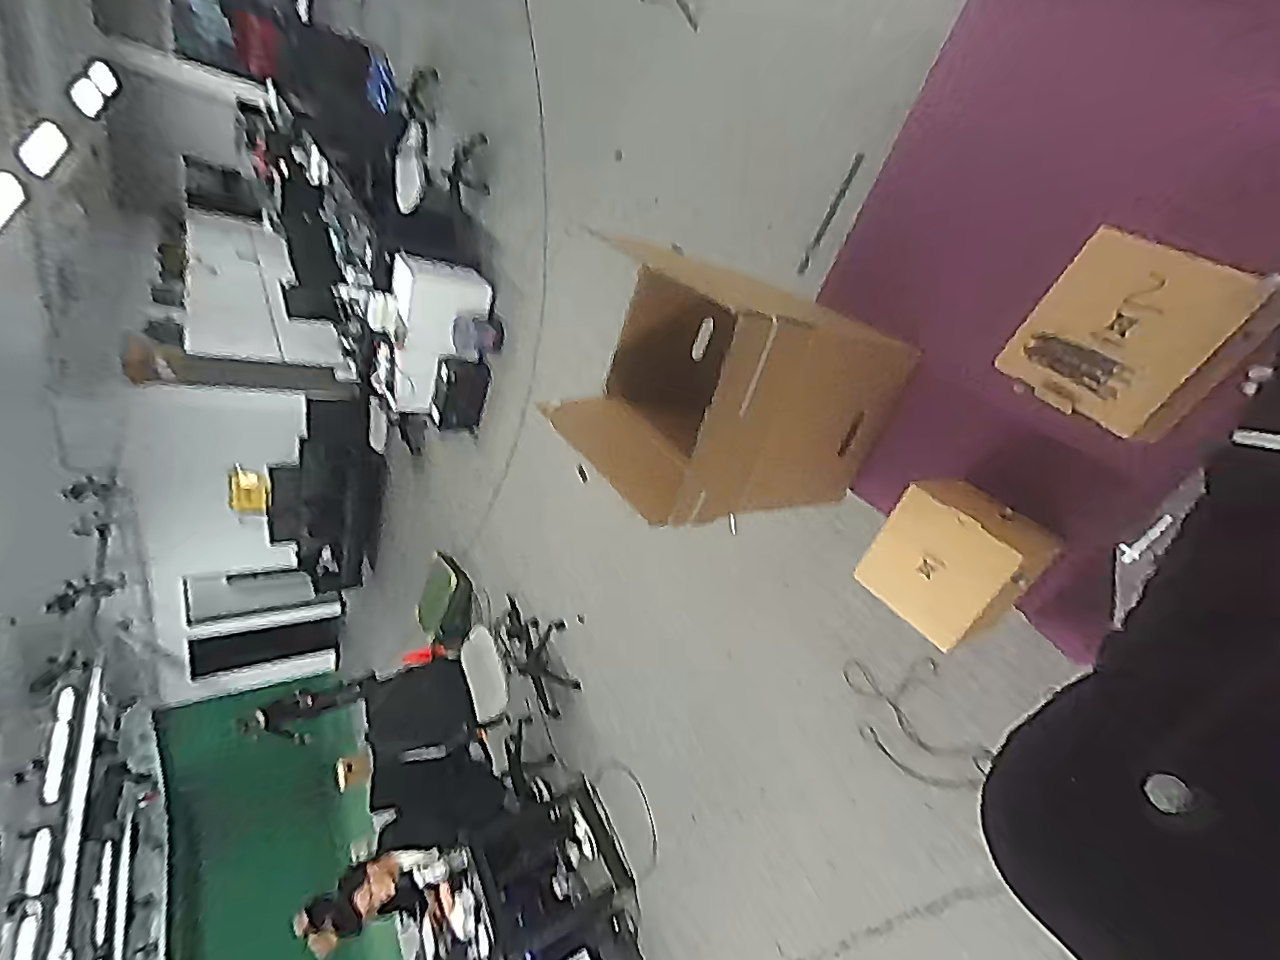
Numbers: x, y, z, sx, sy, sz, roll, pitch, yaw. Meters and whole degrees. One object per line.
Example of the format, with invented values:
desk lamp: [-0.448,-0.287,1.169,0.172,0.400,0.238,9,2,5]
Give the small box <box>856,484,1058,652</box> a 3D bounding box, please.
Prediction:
small box: [0.467,0.121,0.799,0.168,0.176,0.179,46,125,41]
